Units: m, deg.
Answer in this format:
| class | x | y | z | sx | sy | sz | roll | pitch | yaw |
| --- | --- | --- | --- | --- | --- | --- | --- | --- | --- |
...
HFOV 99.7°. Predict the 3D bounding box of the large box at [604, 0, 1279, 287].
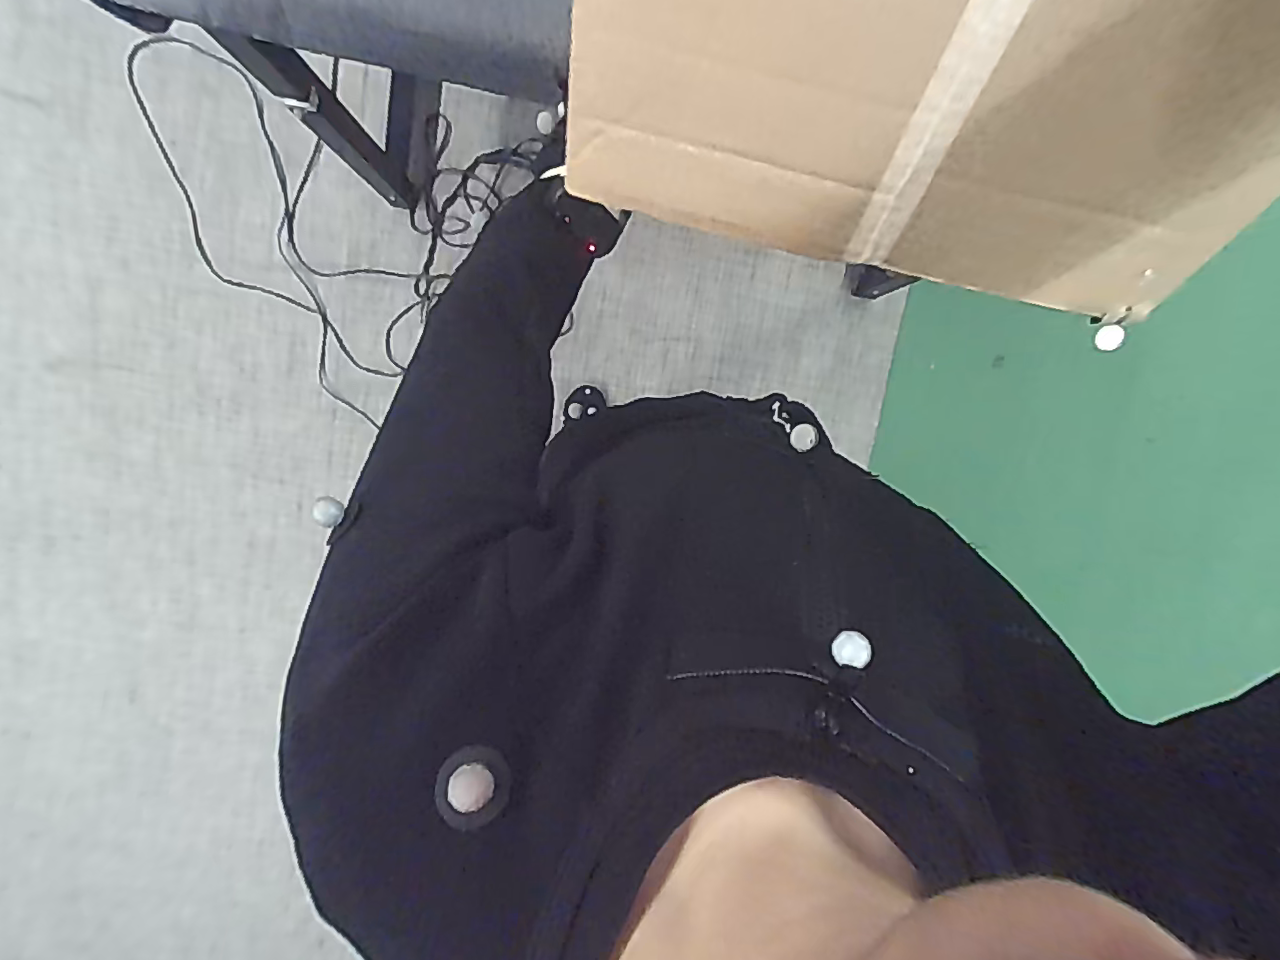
| class | x | y | z | sx | sy | sz | roll | pitch | yaw |
| --- | --- | --- | --- | --- | --- | --- | --- | --- | --- |
| large box | 0.173 | -0.367 | 0.225 | 0.320 | 0.408 | 0.320 | 11 | 54 | -2 |
